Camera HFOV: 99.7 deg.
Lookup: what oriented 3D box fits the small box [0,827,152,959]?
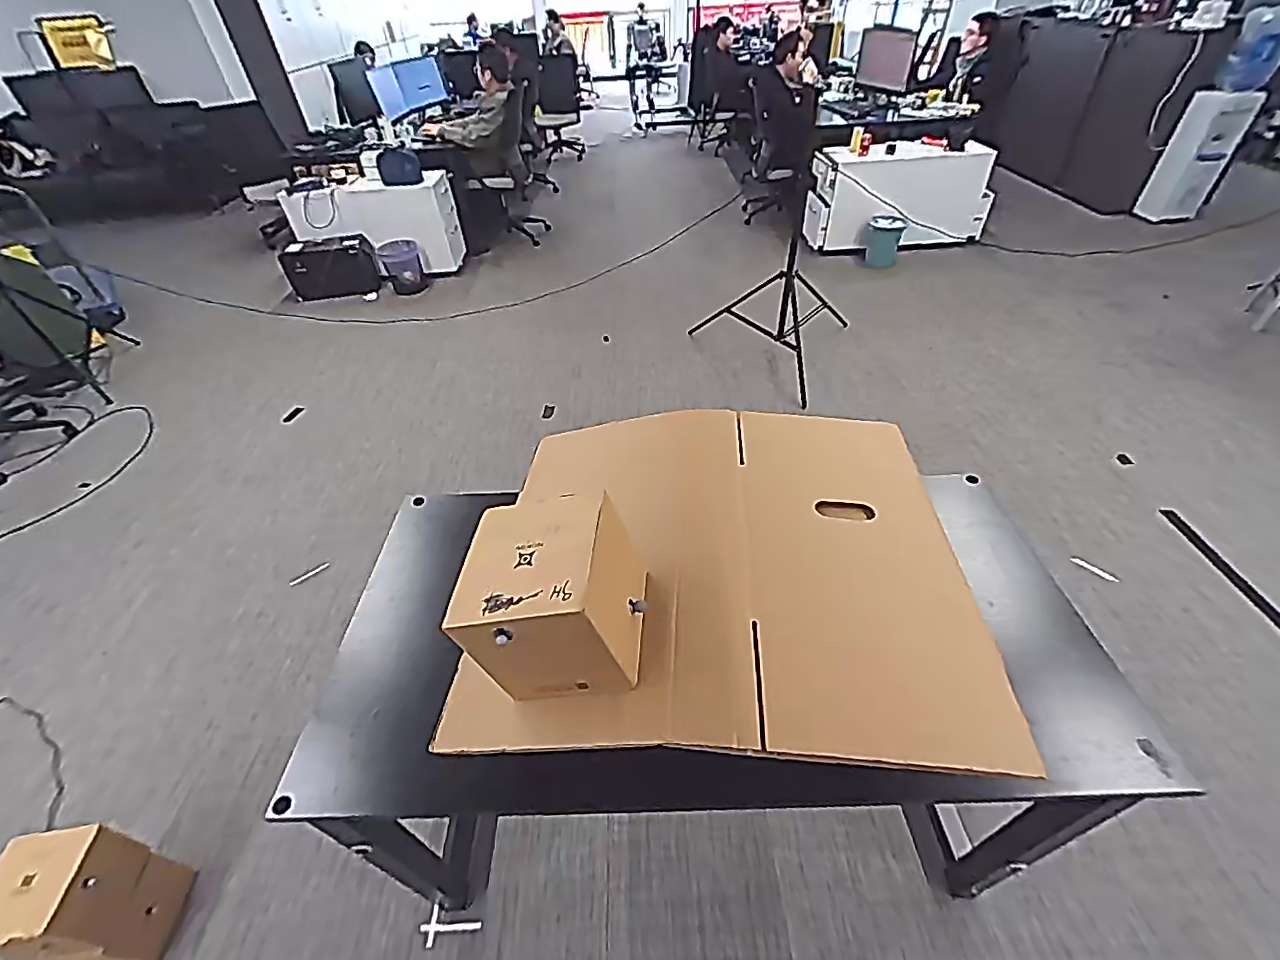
[{"bbox_3d":[-1.134,0.821,1.068,0.168,0.176,0.179,-7,41,-4],"label":"small box"}]

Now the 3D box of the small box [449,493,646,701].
[{"bbox_3d":[-0.096,0.145,0.664,0.168,0.176,0.179,-11,40,15],"label":"small box"}]

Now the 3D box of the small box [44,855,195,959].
[{"bbox_3d":[-1.124,0.945,1.173,0.168,0.176,0.179,-5,43,-1],"label":"small box"}]
